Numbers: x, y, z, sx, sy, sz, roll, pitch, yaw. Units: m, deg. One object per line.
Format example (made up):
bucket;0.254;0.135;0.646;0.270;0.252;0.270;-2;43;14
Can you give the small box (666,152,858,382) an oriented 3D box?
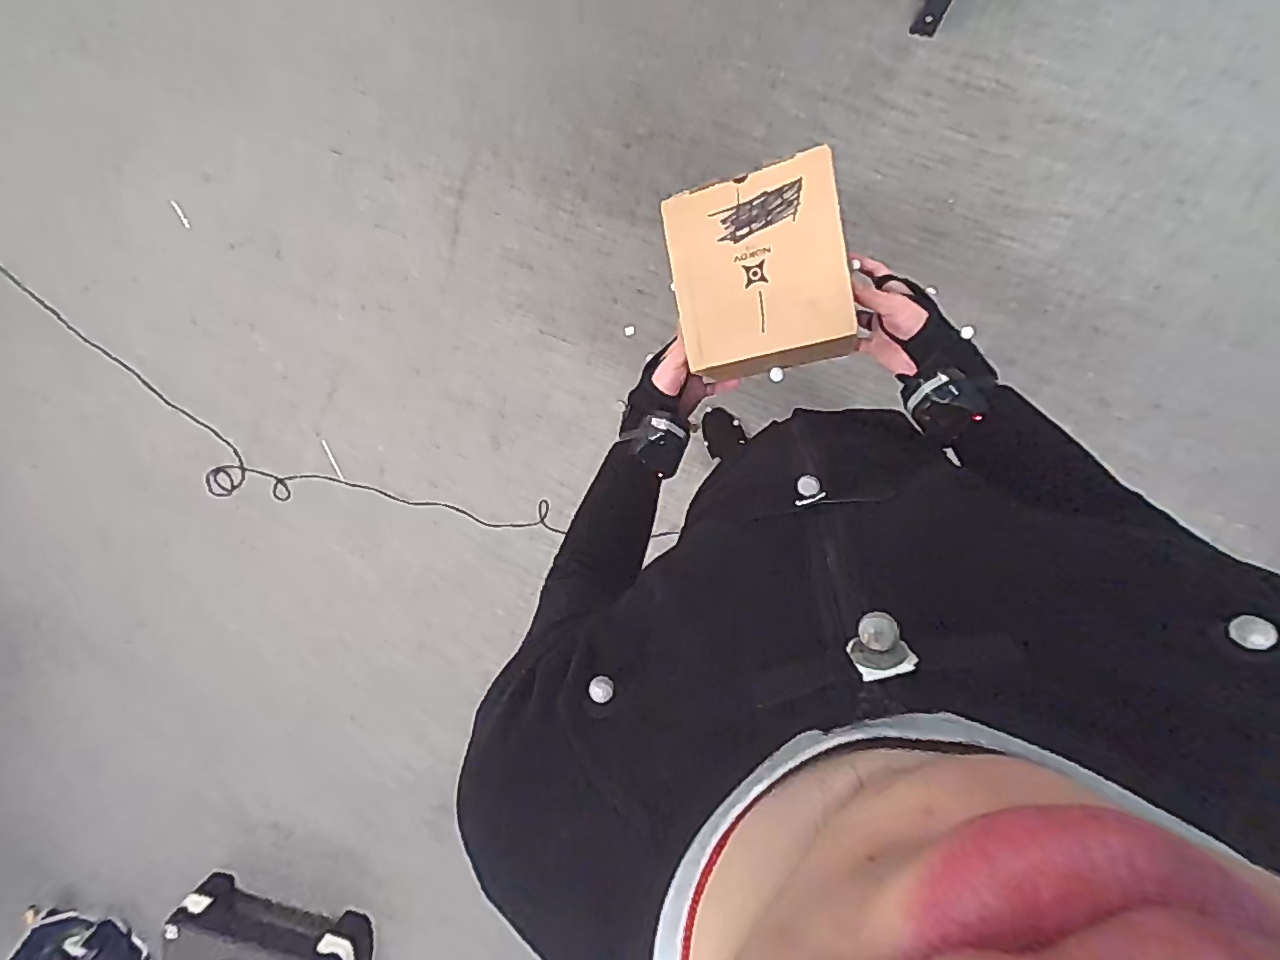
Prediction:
small box;0.141;-0.215;0.602;0.168;0.176;0.179;-9;93;21
